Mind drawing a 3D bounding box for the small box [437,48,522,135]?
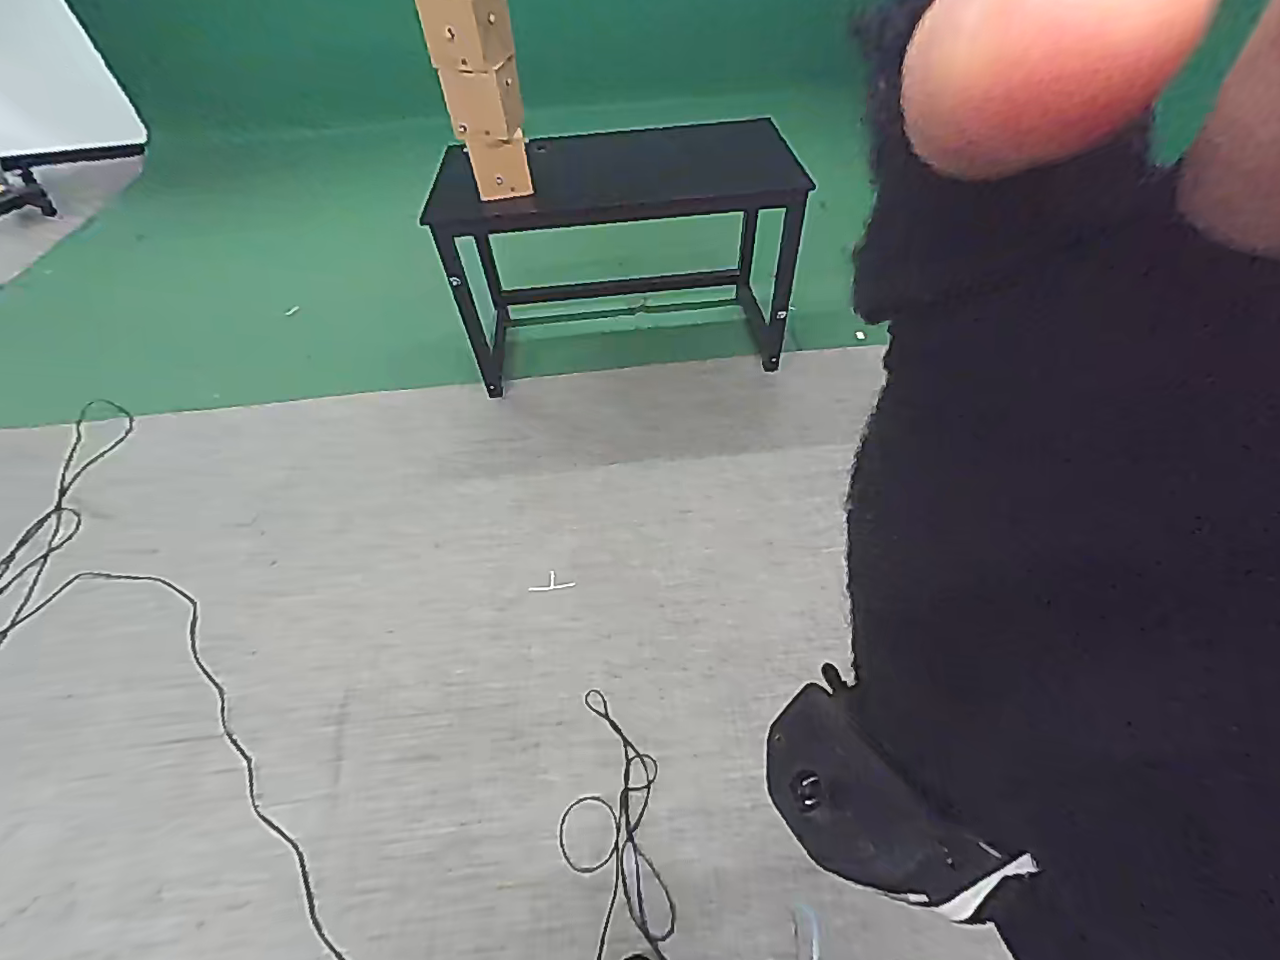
[{"bbox_3d":[-0.452,-1.115,1.556,0.168,0.176,0.179,5,51,7],"label":"small box"}]

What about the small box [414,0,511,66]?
[{"bbox_3d":[-0.462,-1.223,1.432,0.168,0.176,0.179,14,55,13],"label":"small box"}]

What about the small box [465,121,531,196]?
[{"bbox_3d":[-0.442,-1.013,1.684,0.168,0.176,0.179,-12,52,-7],"label":"small box"}]
